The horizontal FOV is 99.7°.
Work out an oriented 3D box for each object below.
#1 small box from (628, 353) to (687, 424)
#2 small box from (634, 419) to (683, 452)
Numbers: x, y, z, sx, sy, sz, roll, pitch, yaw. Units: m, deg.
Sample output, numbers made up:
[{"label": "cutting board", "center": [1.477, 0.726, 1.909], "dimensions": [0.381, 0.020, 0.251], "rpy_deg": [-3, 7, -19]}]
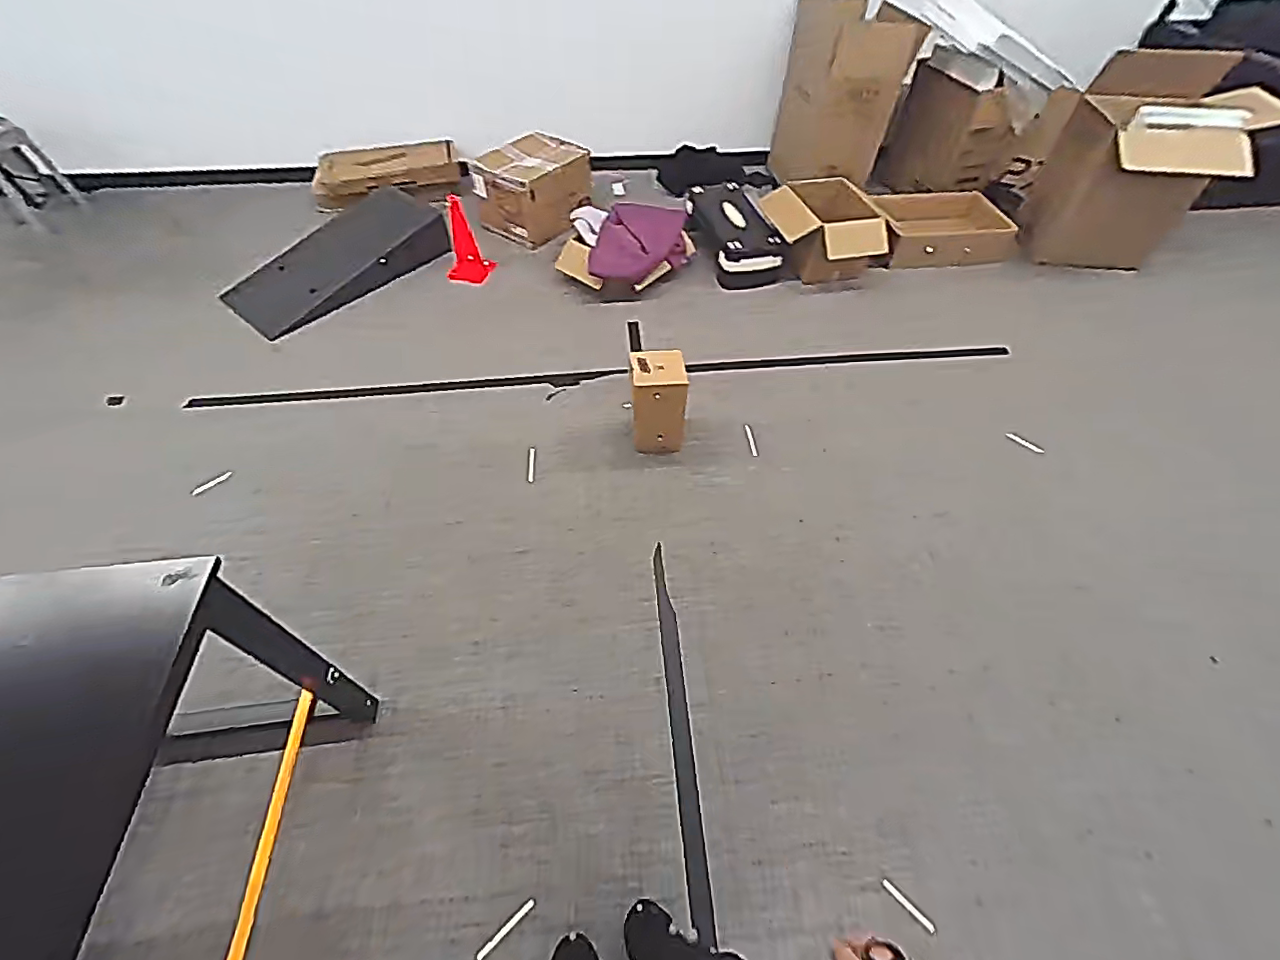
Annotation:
[{"label": "small box", "center": [0.056, -0.302, 1.800], "dimensions": [0.179, 0.176, 0.168], "rpy_deg": [-4, 53, -5]}, {"label": "small box", "center": [0.062, -0.213, 1.941], "dimensions": [0.168, 0.176, 0.179], "rpy_deg": [-3, 53, -3]}]
